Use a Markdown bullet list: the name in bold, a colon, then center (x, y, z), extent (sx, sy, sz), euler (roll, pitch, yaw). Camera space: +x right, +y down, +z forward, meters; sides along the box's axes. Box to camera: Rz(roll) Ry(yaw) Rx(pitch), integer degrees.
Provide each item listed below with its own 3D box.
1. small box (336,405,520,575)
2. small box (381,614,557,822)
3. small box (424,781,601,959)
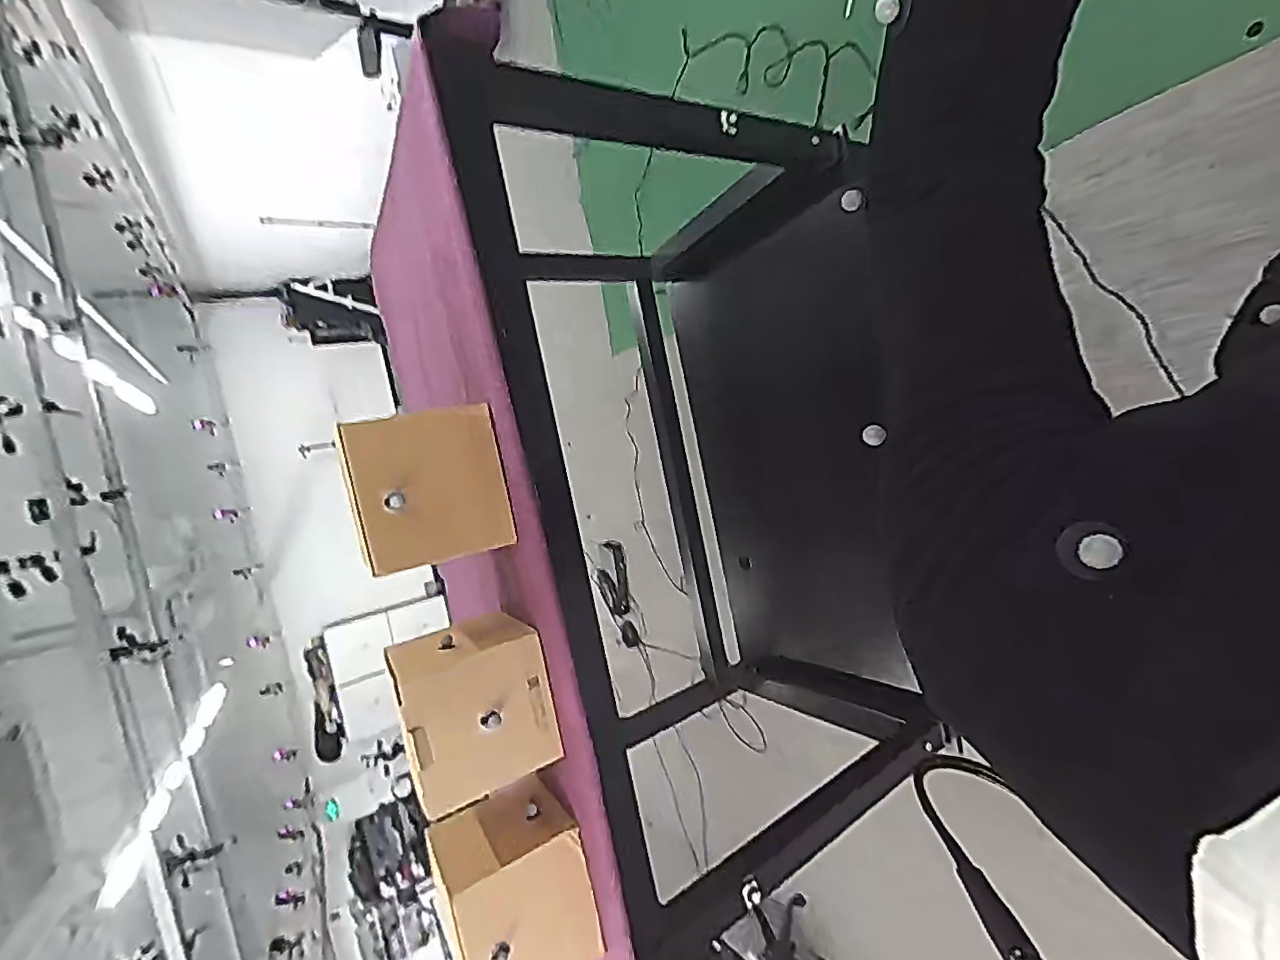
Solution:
- **small box**: center (-0.269, 0.005, 0.683), extent (0.168, 0.176, 0.179), euler (-6, 97, 60)
- **small box**: center (-0.216, 0.283, 0.693), extent (0.179, 0.176, 0.168), euler (-8, 93, 59)
- **small box**: center (-0.165, 0.539, 0.702), extent (0.168, 0.176, 0.179), euler (-9, 92, 59)
